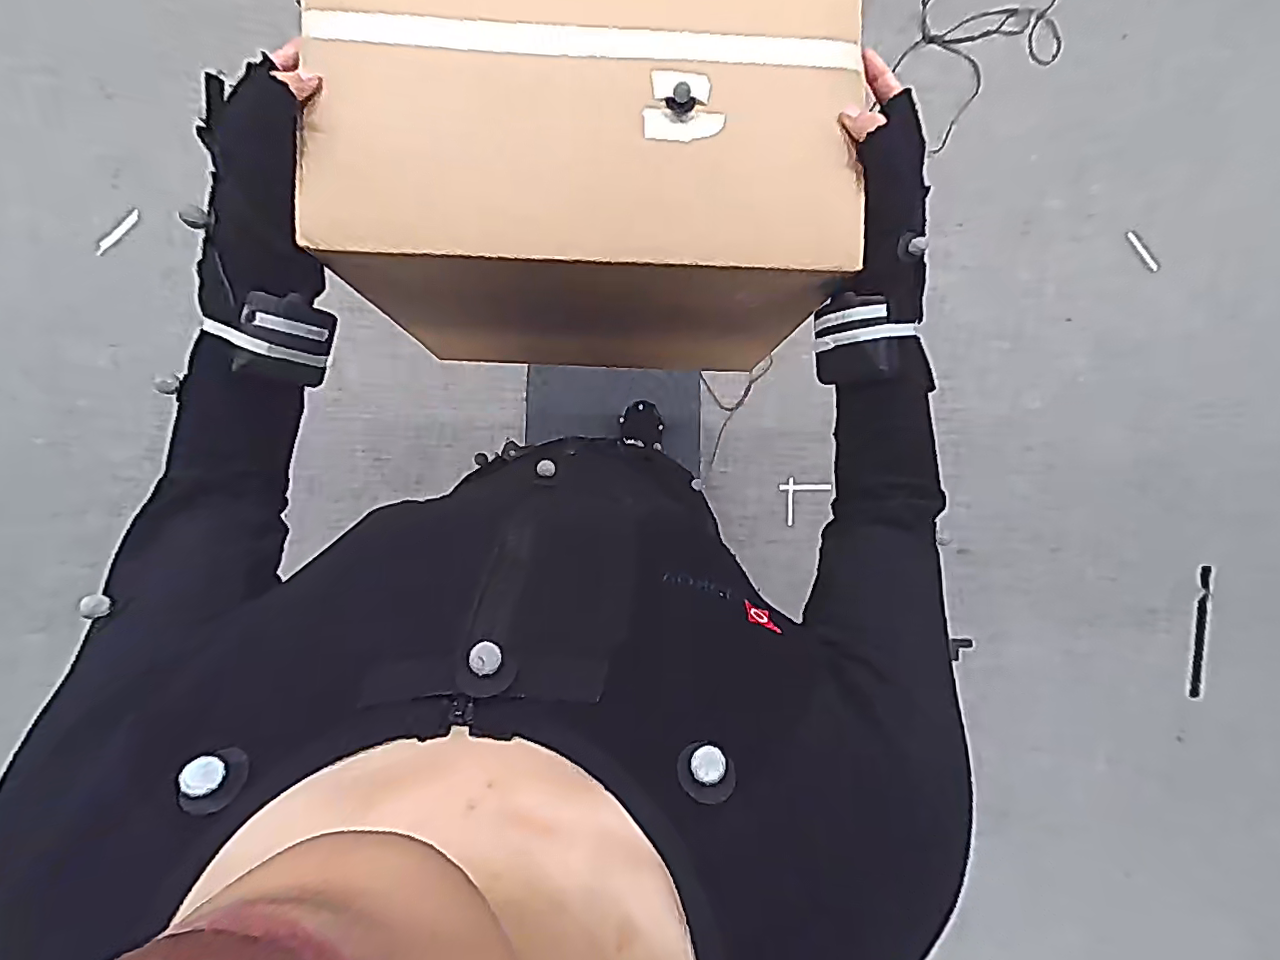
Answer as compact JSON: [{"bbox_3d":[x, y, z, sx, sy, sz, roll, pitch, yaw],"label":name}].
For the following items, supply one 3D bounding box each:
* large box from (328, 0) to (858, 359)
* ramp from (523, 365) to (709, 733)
[{"bbox_3d":[-0.039,-0.318,0.559,0.408,0.320,0.320,1,88,-3],"label":"large box"},{"bbox_3d":[-0.061,0.164,1.481,0.509,0.206,0.991,-1,92,1],"label":"ramp"}]
